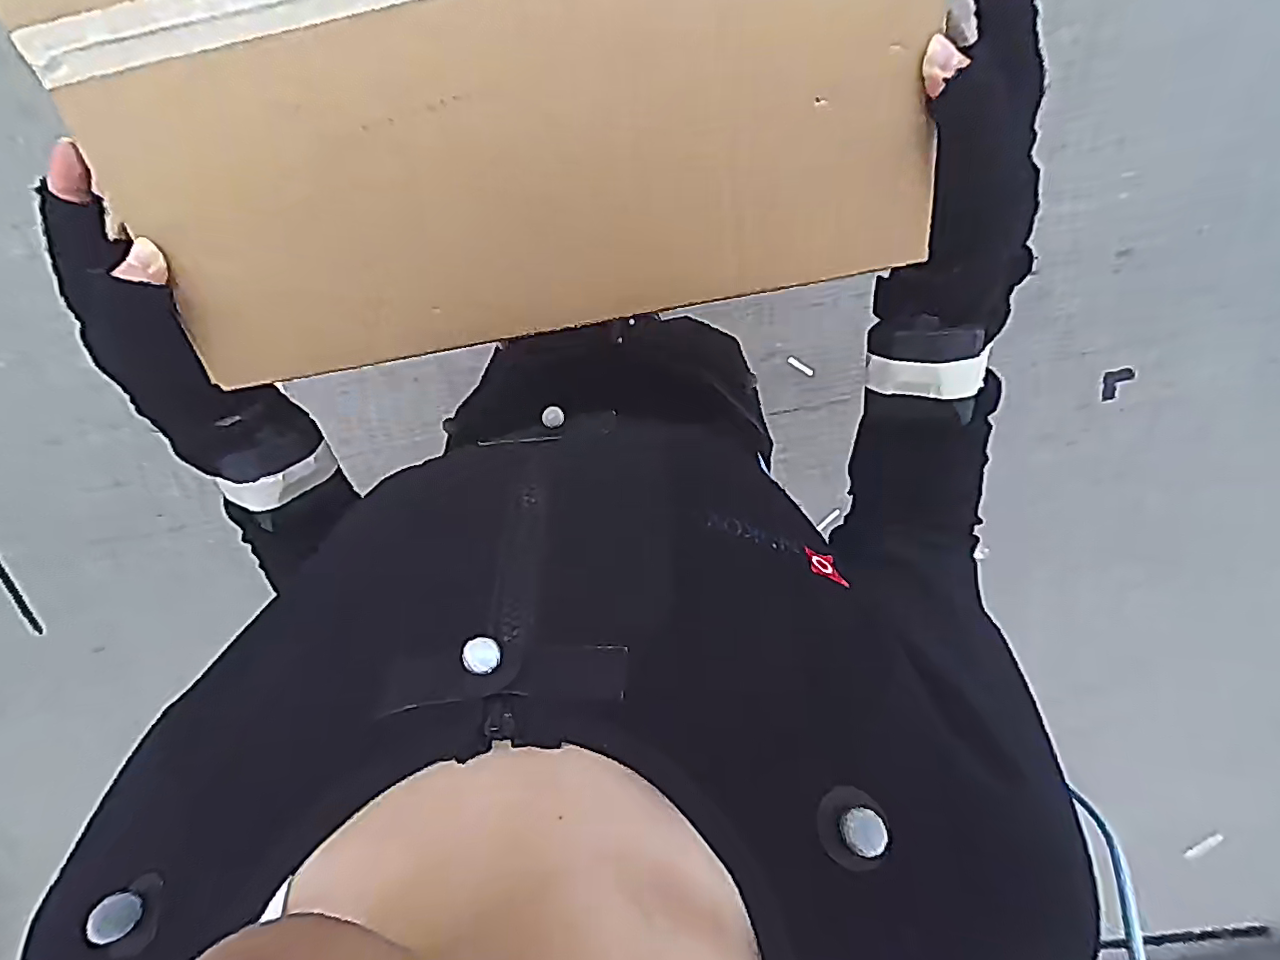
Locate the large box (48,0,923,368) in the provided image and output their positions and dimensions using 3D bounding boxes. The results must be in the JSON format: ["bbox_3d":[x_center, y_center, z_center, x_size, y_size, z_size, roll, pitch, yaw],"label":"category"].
[{"bbox_3d":[-0.075,-0.301,0.374,0.408,0.320,0.320,-10,118,4],"label":"large box"}]
